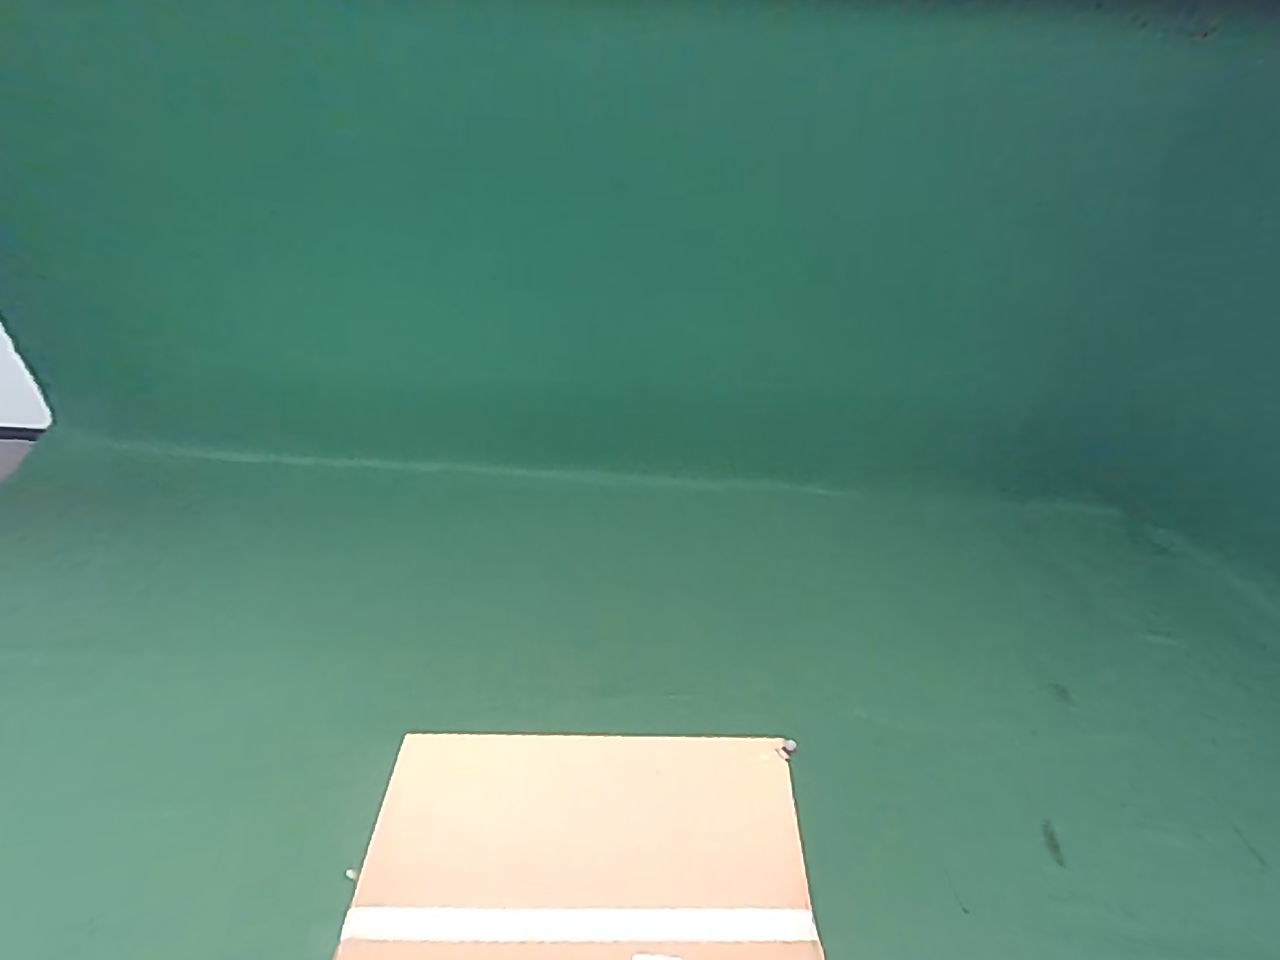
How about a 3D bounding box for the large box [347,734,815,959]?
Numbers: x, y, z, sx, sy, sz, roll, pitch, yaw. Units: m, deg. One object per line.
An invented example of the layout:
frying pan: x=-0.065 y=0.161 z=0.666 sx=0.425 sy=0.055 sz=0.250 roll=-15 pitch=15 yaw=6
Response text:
large box: x=-0.053 y=0.491 z=0.583 sx=0.408 sy=0.320 sz=0.320 roll=1 pitch=46 yaw=-1
